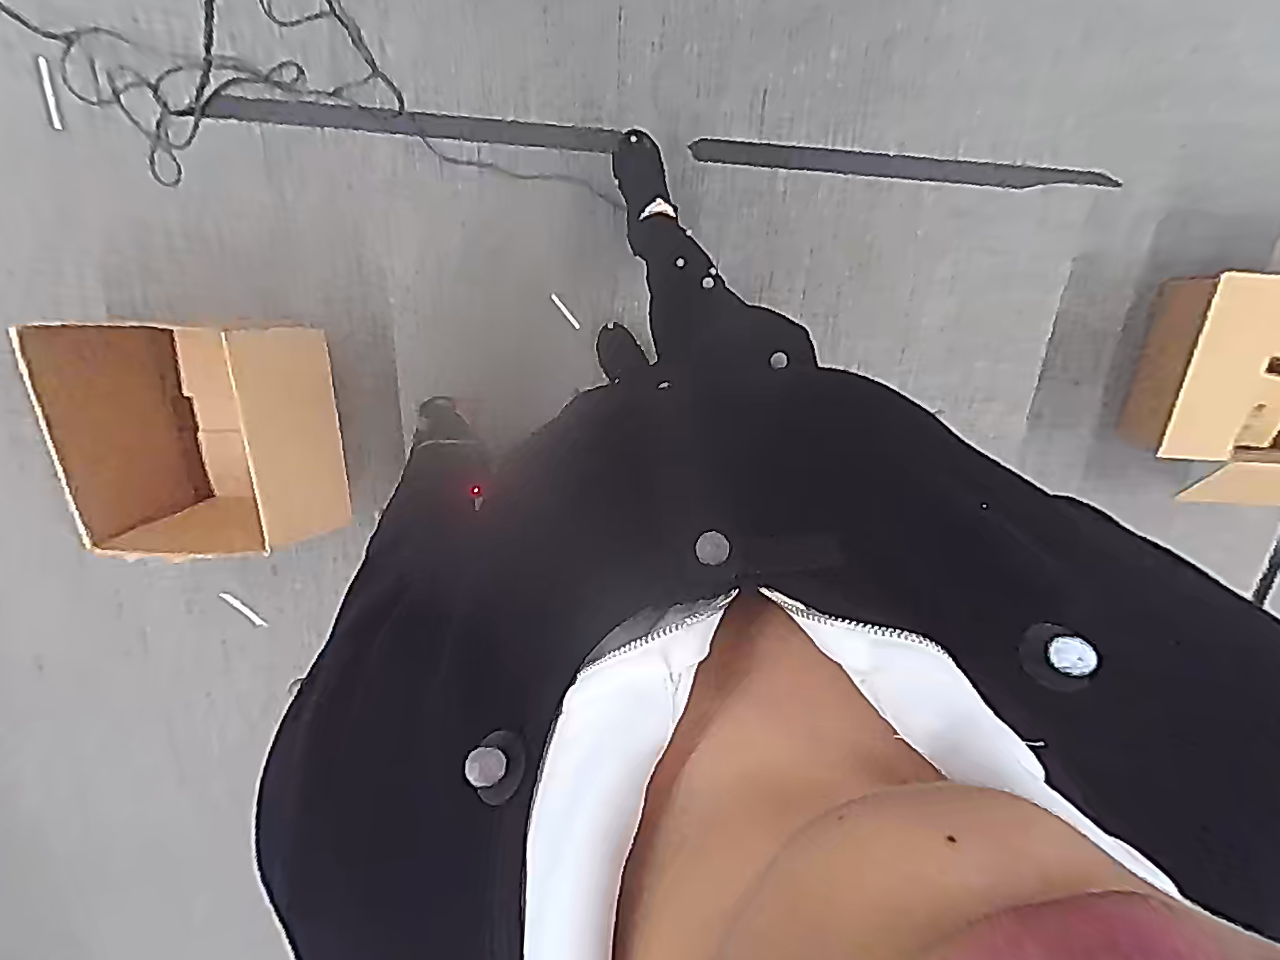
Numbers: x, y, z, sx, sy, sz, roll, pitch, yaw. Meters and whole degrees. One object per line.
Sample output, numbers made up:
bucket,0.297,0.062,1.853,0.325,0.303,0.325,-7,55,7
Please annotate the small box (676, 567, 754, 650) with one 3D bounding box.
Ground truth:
small box,0.205,0.357,1.525,0.179,0.176,0.168,6,105,-2
